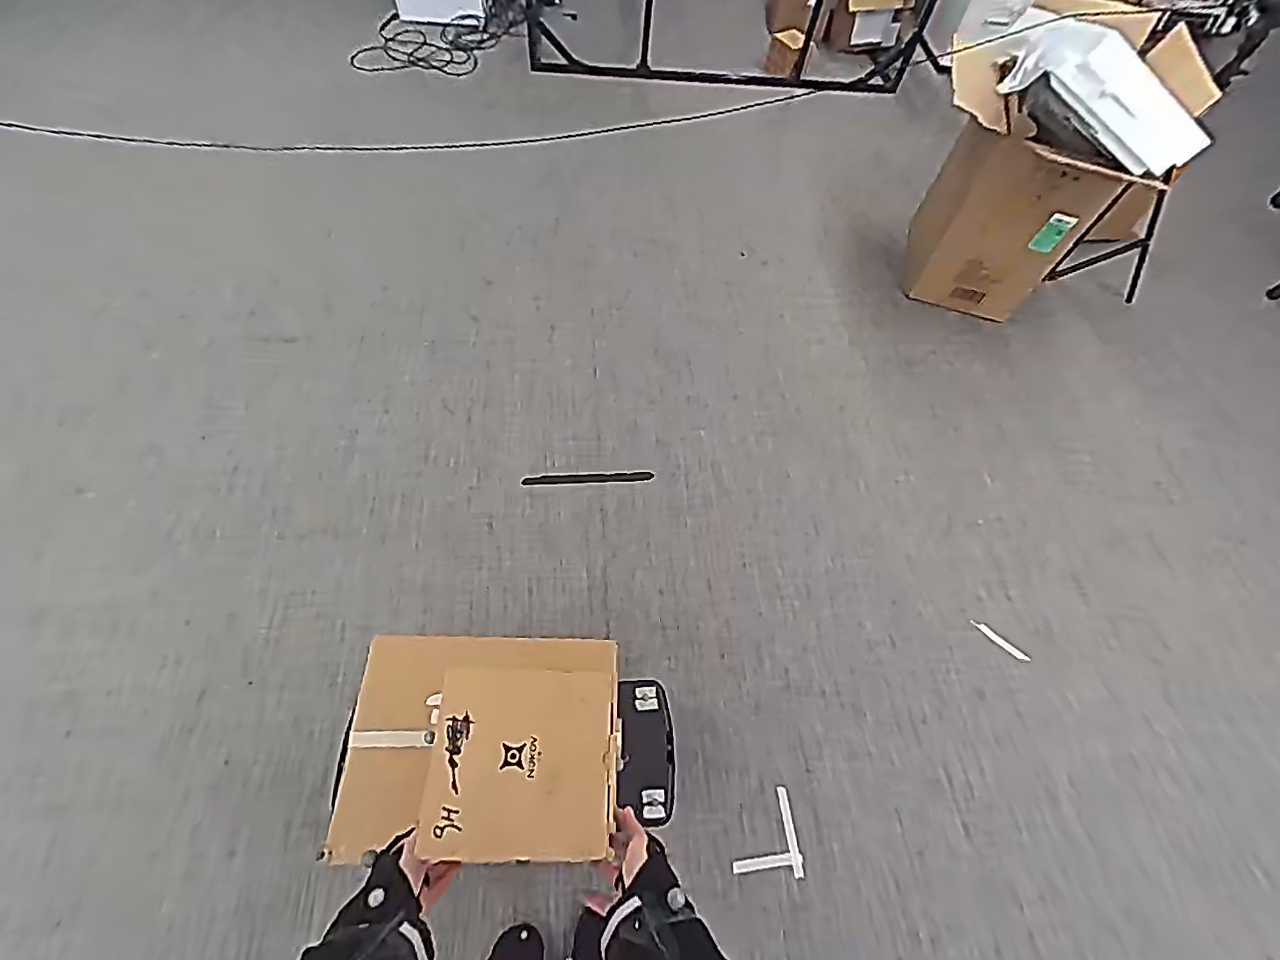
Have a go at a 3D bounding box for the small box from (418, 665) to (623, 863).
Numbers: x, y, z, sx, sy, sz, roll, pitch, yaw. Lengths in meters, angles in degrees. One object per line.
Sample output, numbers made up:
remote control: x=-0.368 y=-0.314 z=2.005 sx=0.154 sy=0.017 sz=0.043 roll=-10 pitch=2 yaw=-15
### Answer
small box: x=-0.115 y=0.305 z=0.586 sx=0.179 sy=0.176 sz=0.168 roll=4 pitch=59 yaw=-5

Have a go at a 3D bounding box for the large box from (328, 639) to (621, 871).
large box: x=-0.240 y=0.473 z=0.950 sx=0.408 sy=0.320 sz=0.320 roll=2 pitch=59 yaw=-4

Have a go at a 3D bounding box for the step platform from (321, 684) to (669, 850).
step platform: x=-0.280 y=0.601 z=1.148 sx=0.684 sy=0.204 sz=0.286 roll=4 pitch=60 yaw=-2
